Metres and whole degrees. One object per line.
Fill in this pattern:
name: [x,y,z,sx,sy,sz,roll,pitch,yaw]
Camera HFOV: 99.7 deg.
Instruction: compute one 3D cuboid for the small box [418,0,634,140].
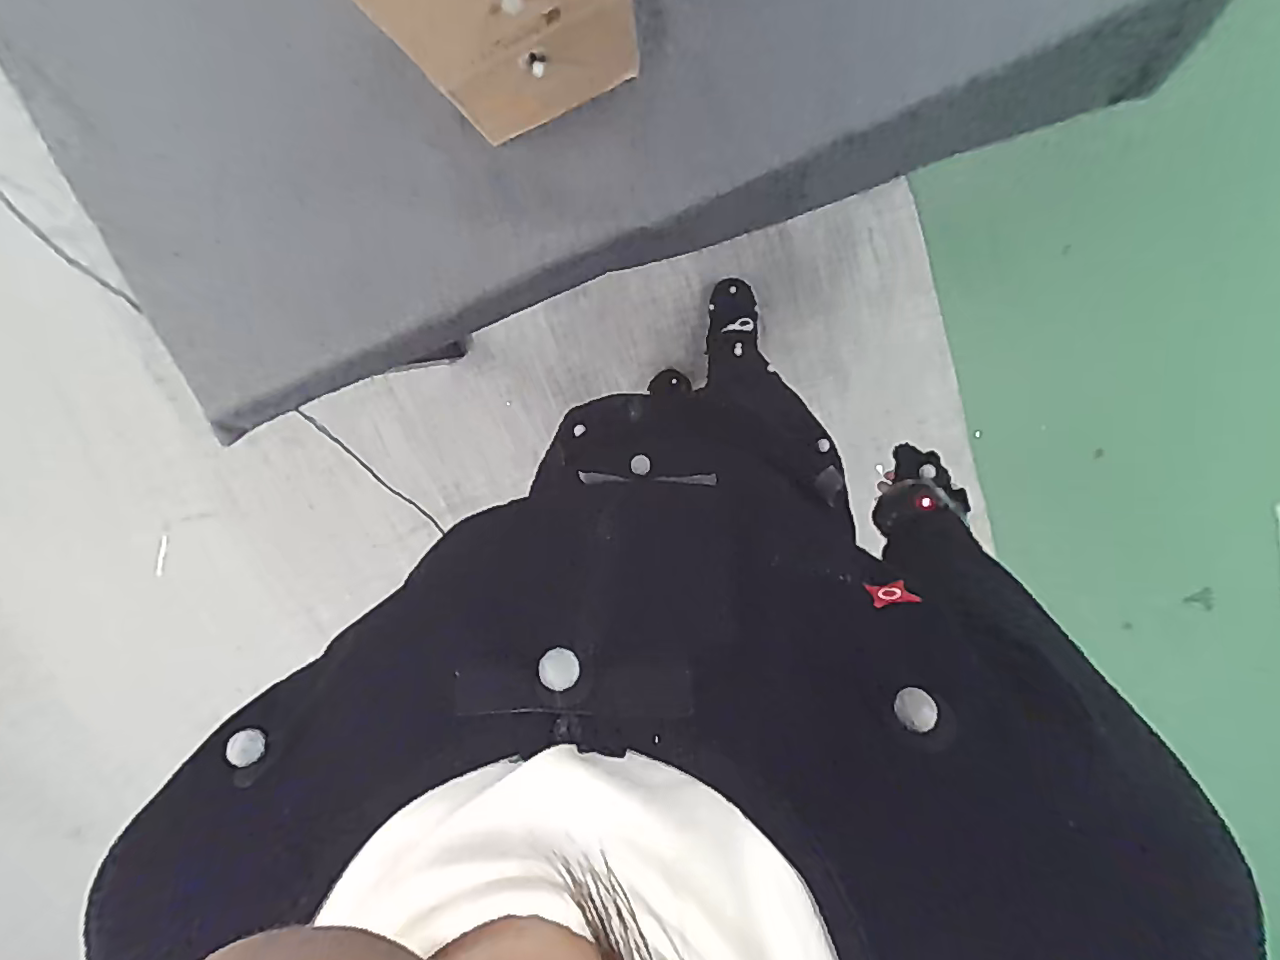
small box: [-0.116,-0.442,0.480,0.179,0.176,0.168,-21,104,8]
